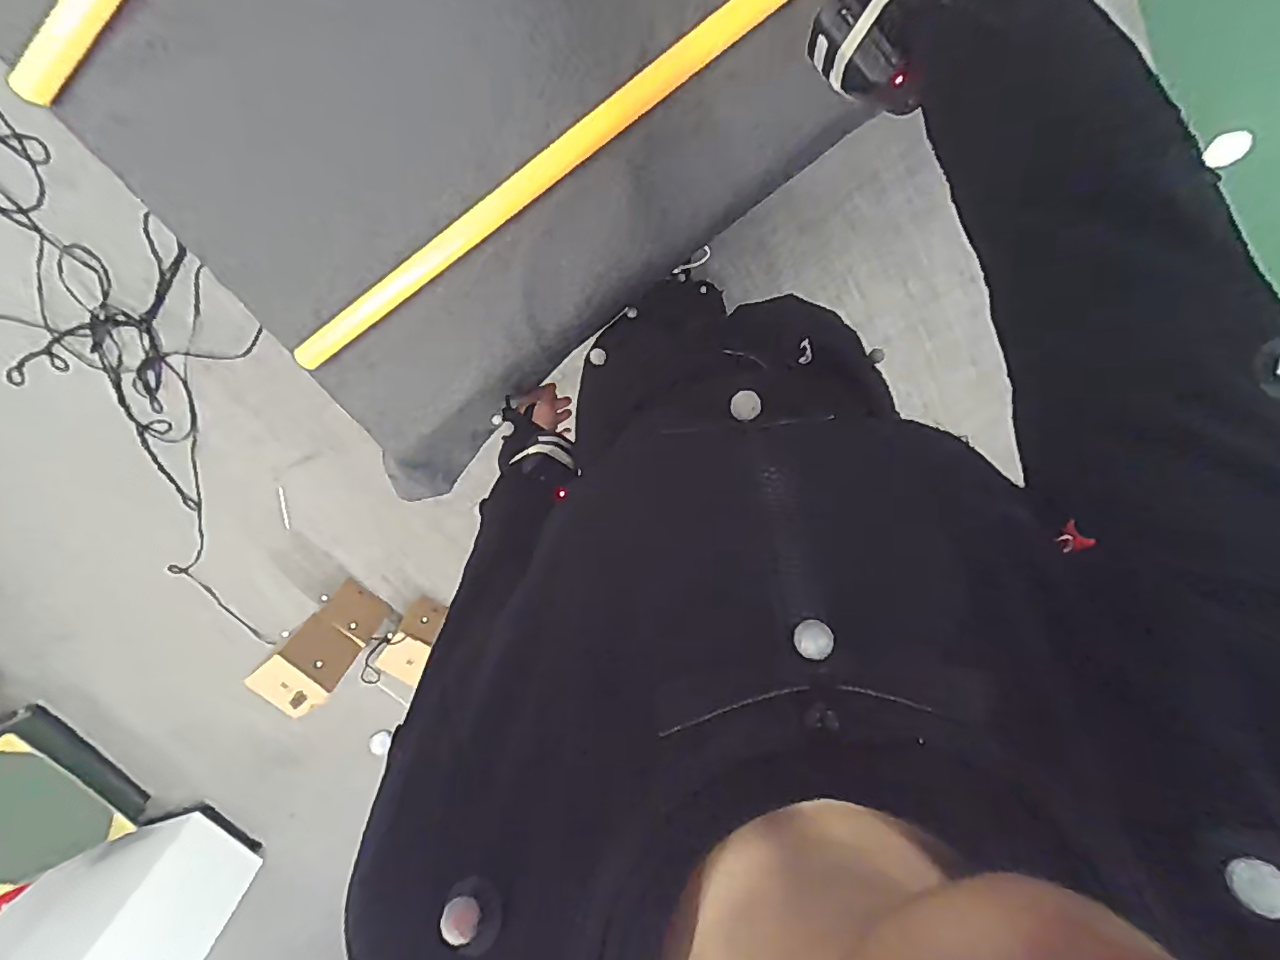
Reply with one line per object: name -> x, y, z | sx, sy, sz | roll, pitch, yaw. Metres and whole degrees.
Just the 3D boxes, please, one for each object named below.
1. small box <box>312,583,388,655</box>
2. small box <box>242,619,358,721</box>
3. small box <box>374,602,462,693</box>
small box -> -0.905, 0.449, 1.639 | 0.179, 0.176, 0.168 | -41, 108, 21
small box -> -0.925, 0.519, 1.491 | 0.168, 0.176, 0.179 | -35, 109, 19
small box -> -0.670, 0.508, 1.660 | 0.168, 0.176, 0.179 | 36, 114, -13
